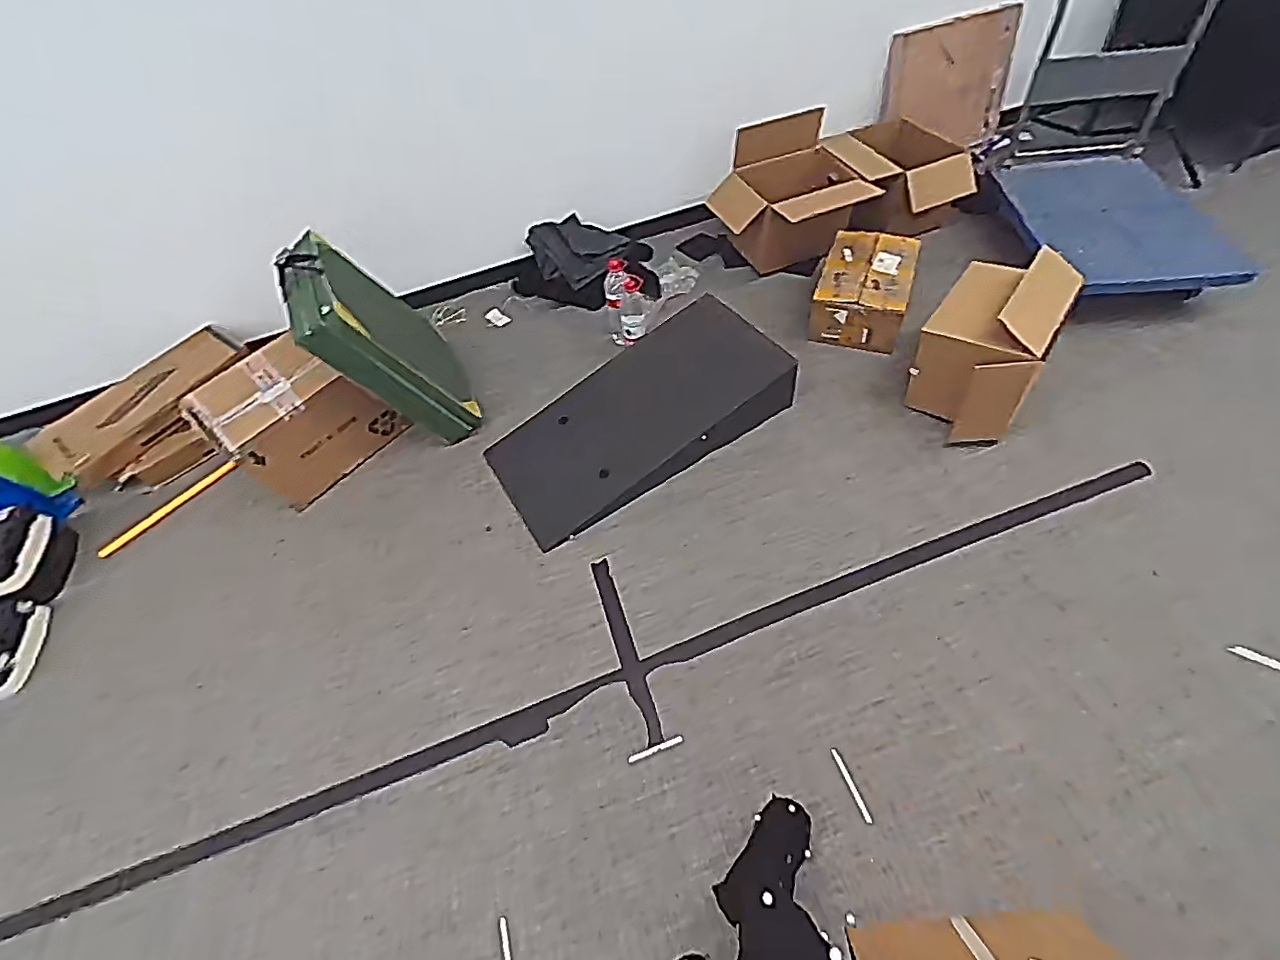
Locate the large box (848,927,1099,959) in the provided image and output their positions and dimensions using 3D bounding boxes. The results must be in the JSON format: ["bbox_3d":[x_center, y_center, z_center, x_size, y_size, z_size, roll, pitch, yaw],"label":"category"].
[{"bbox_3d":[0.451,0.762,0.553,0.320,0.408,0.320,-8,77,6],"label":"large box"}]
